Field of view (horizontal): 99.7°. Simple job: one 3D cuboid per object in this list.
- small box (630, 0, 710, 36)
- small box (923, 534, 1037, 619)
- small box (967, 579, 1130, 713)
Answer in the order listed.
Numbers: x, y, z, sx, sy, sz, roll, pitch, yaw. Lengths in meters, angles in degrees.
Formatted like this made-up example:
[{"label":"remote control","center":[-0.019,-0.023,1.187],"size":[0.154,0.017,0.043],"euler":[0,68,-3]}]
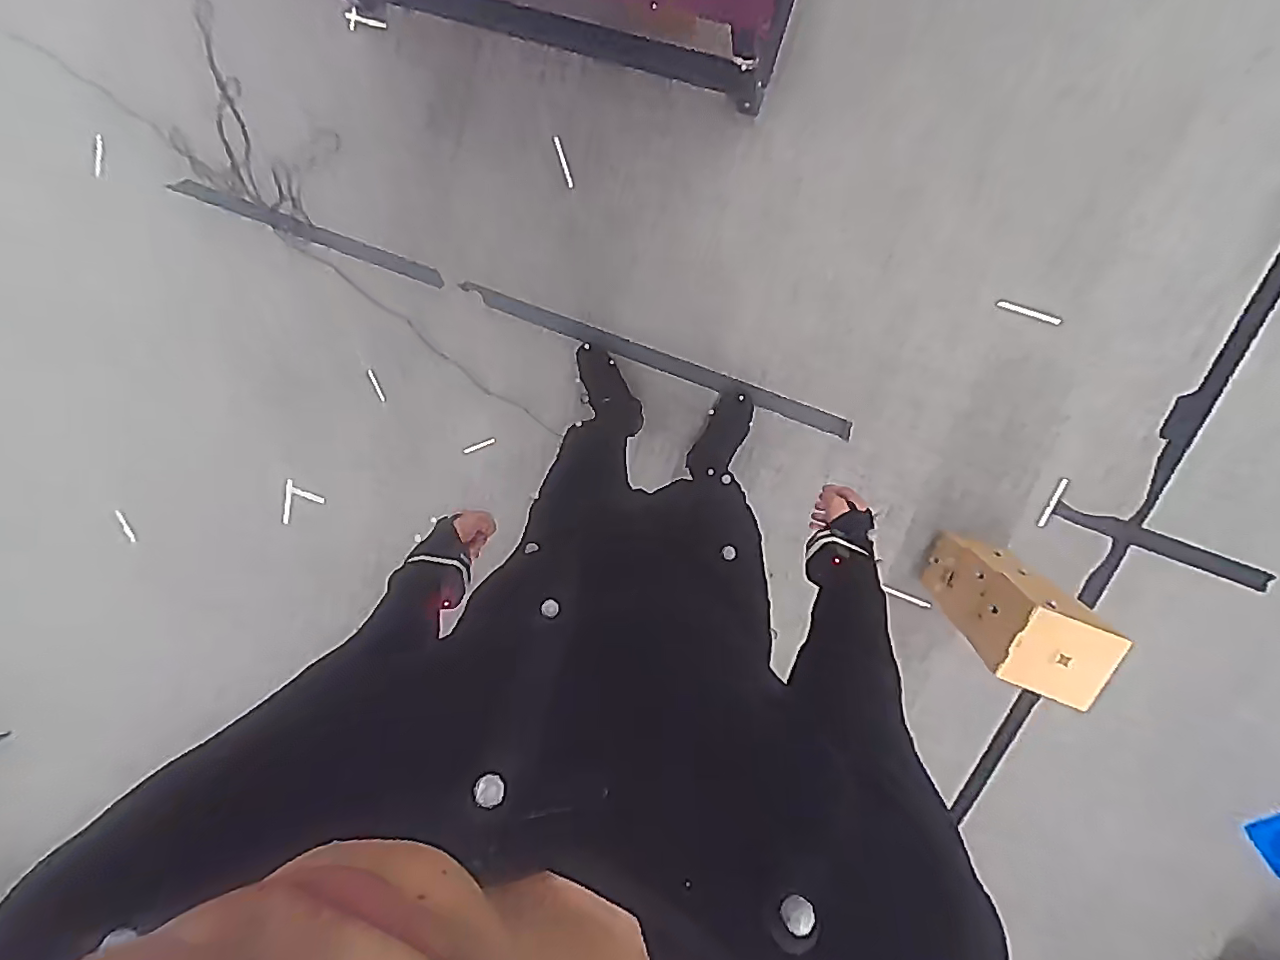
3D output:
[{"label":"small box","center":[0.081,-1.196,1.275],"size":[0.179,0.176,0.168],"euler":[22,105,8]},{"label":"small box","center":[0.877,0.257,1.413],"size":[0.179,0.176,0.168],"euler":[18,106,9]},{"label":"small box","center":[0.813,0.326,1.099],"size":[0.179,0.176,0.168],"euler":[21,107,8]}]
